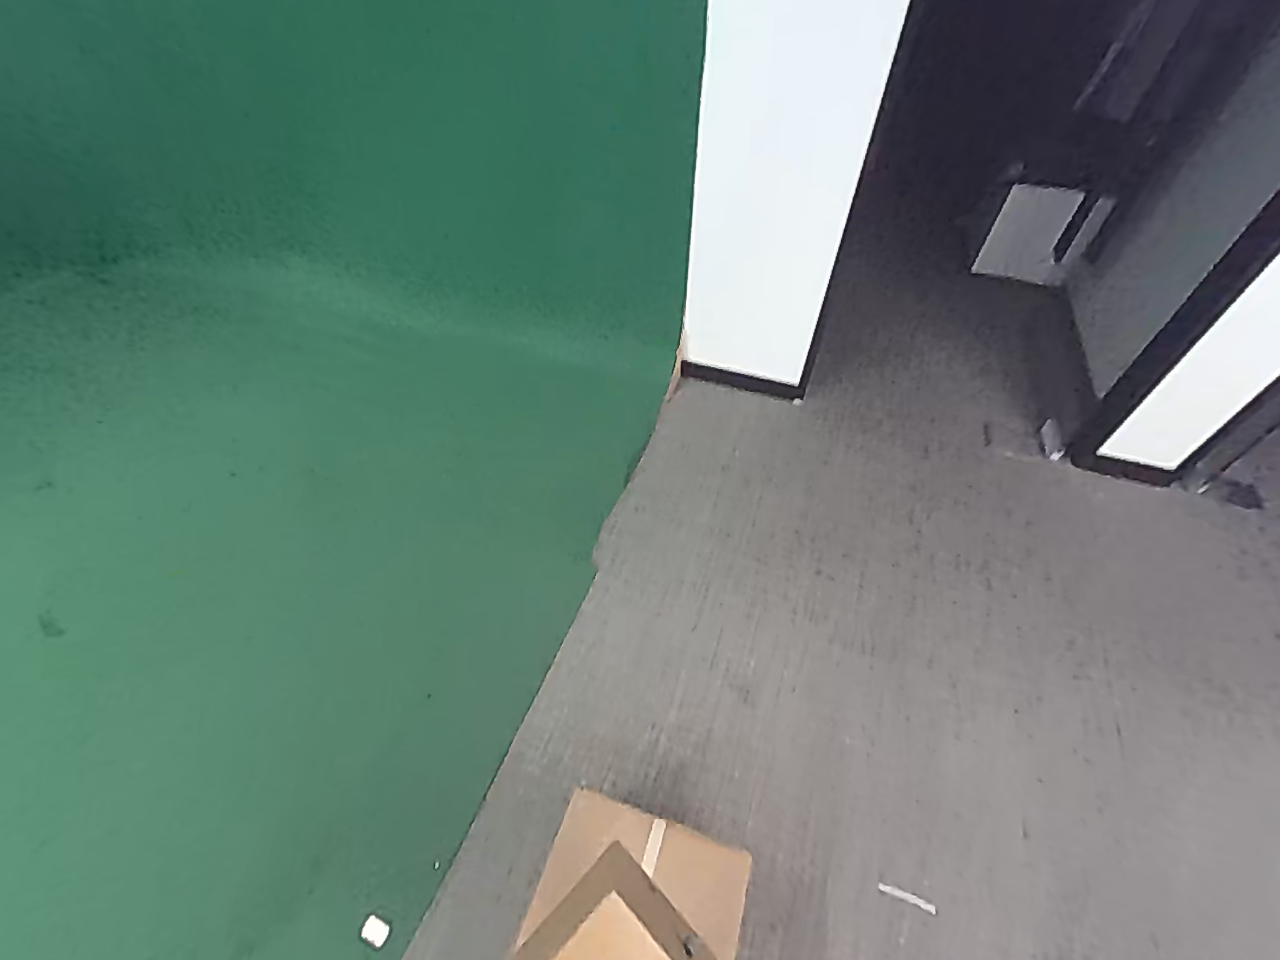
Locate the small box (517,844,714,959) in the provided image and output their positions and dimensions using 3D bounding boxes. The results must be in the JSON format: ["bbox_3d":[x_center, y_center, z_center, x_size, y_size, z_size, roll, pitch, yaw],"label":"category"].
[{"bbox_3d":[-0.026,0.508,0.528,0.179,0.176,0.168,-43,78,-13],"label":"small box"}]

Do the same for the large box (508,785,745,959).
[{"bbox_3d":[-0.032,0.808,0.897,0.320,0.320,0.408,15,50,12],"label":"large box"}]
